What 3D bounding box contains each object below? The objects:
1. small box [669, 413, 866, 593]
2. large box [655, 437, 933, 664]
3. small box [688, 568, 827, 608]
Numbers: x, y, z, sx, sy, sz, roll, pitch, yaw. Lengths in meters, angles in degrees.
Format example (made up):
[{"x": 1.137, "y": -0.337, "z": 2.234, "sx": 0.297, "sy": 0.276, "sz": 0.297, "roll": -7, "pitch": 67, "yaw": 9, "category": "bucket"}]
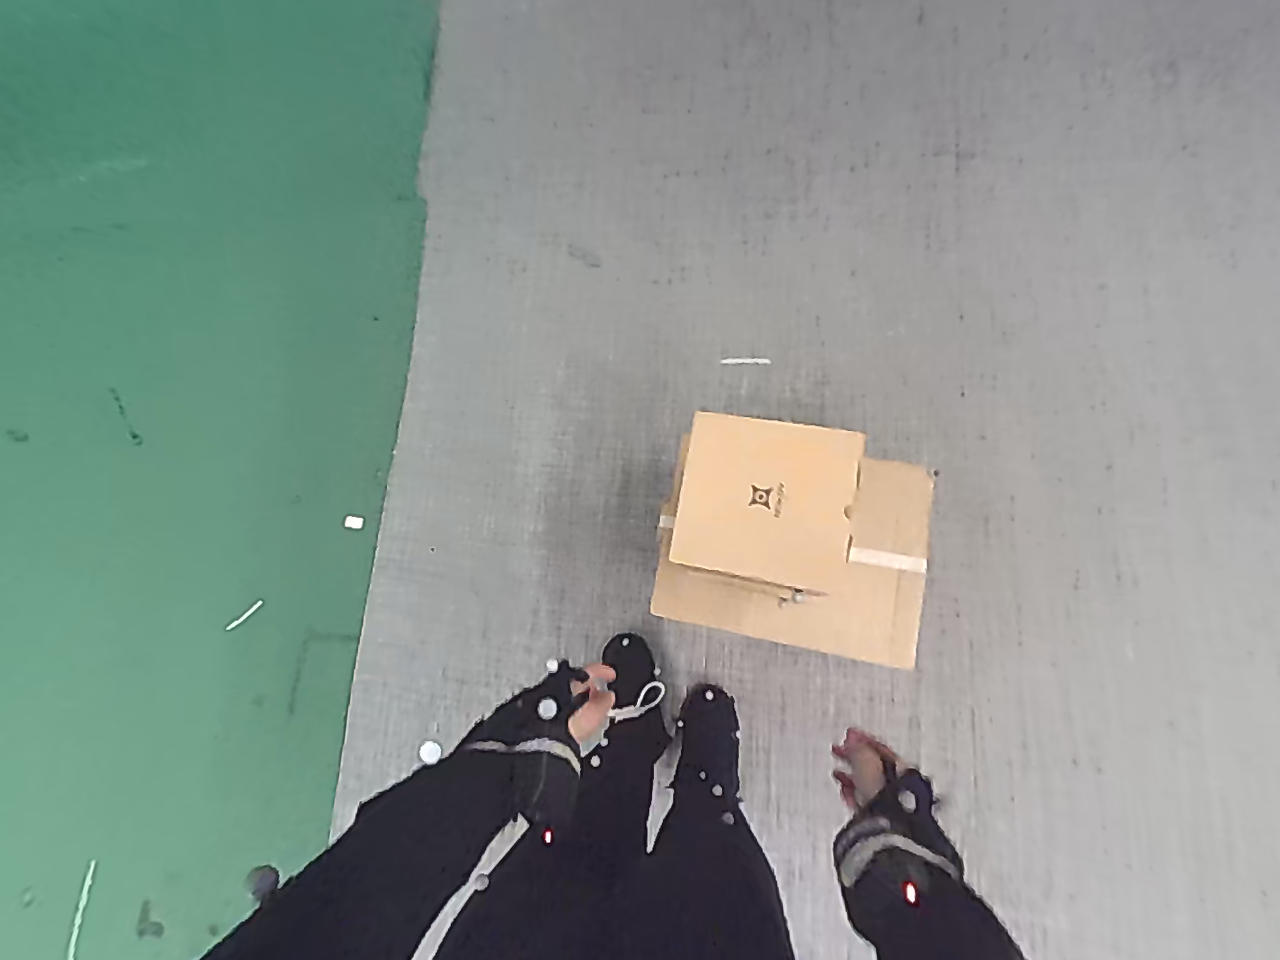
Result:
[{"x": 0.143, "y": 0.035, "z": 0.625, "sx": 0.179, "sy": 0.176, "sz": 0.168, "roll": 9, "pitch": 80, "yaw": 12, "category": "small box"}, {"x": 0.264, "y": 0.127, "z": 1.004, "sx": 0.408, "sy": 0.320, "sz": 0.320, "roll": 9, "pitch": 82, "yaw": 11, "category": "large box"}, {"x": 0.177, "y": 0.081, "z": 0.778, "sx": 0.179, "sy": 0.176, "sz": 0.168, "roll": 10, "pitch": 80, "yaw": 14, "category": "small box"}]
